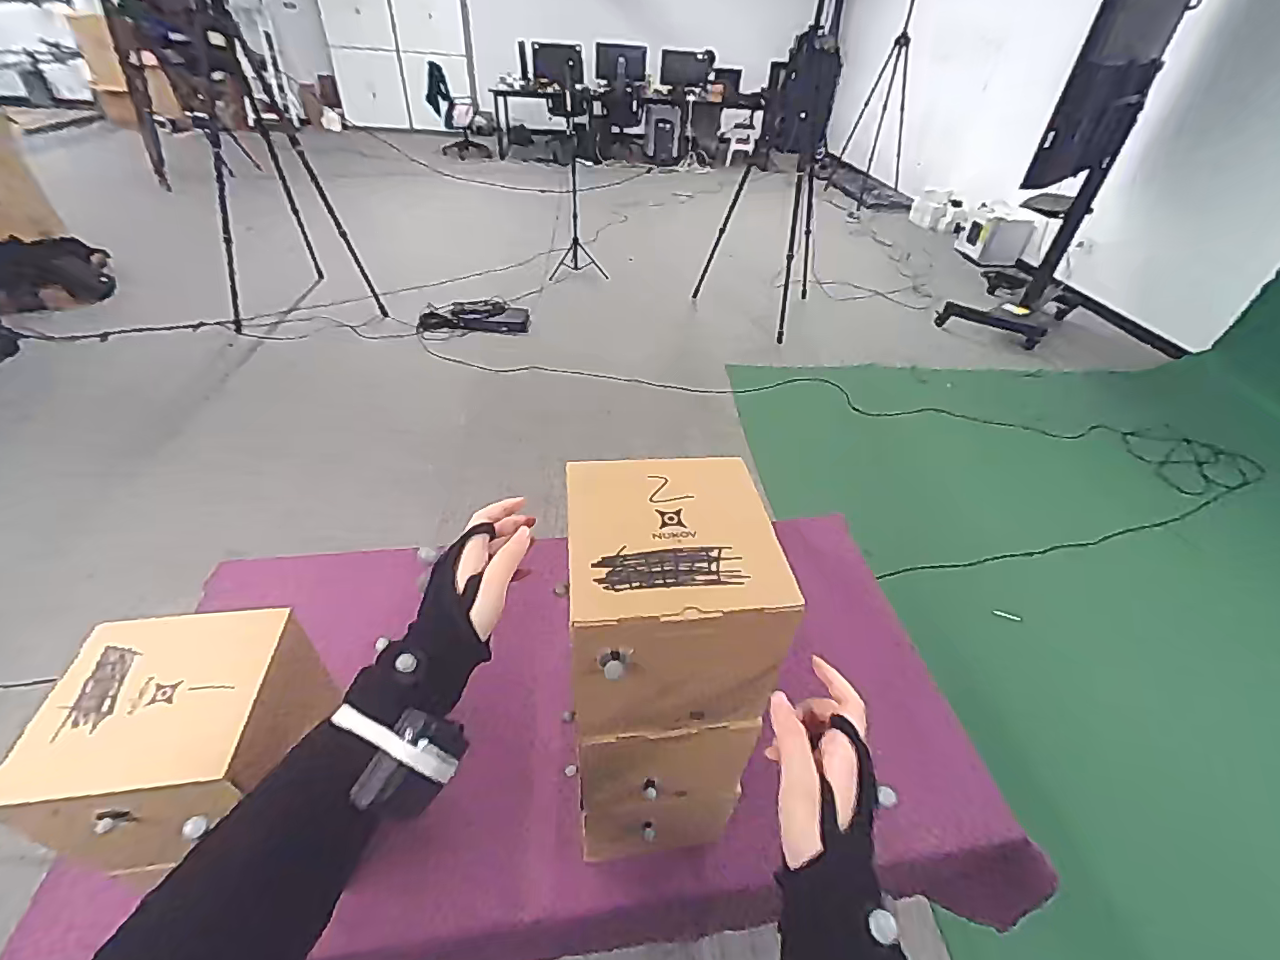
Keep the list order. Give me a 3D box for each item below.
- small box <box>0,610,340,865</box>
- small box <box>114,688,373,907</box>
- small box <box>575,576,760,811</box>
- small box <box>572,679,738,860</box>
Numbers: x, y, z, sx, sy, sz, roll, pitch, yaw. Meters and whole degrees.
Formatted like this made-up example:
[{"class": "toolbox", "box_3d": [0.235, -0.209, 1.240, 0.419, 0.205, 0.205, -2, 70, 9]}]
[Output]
[{"class": "small box", "box_3d": [-0.427, 0.249, 0.528, 0.179, 0.176, 0.168, -2, 41, -9]}, {"class": "small box", "box_3d": [-0.434, 0.374, 0.635, 0.168, 0.176, 0.179, -2, 40, -8]}, {"class": "small box", "box_3d": [0.013, 0.228, 0.589, 0.168, 0.176, 0.179, -2, 41, -8]}, {"class": "small box", "box_3d": [0.010, 0.357, 0.689, 0.179, 0.176, 0.168, -4, 41, -8]}]
